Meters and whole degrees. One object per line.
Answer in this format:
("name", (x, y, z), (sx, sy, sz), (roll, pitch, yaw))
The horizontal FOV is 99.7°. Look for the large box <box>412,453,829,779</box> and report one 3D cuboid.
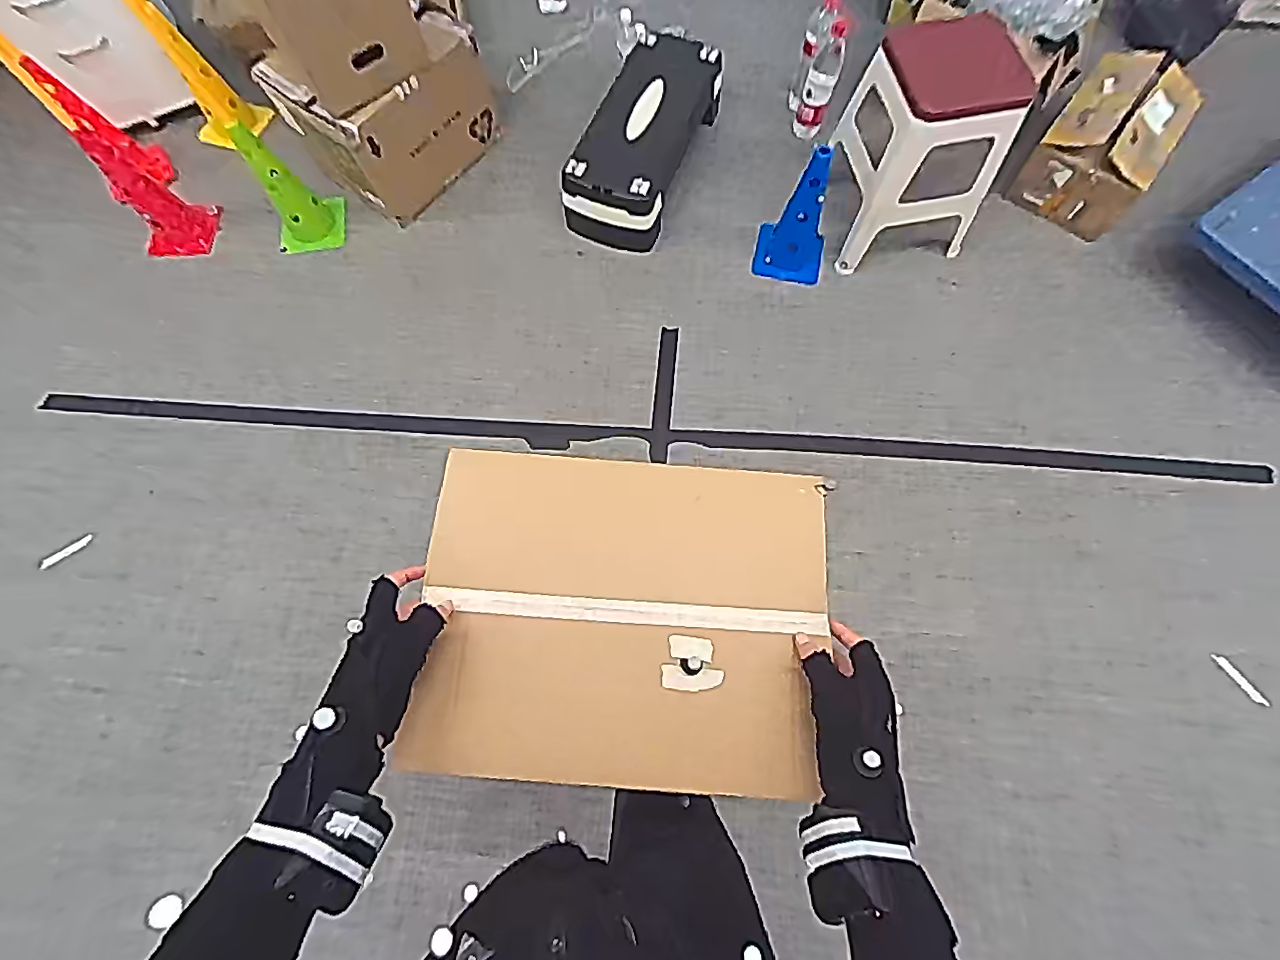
("large box", (-0.017, 0.173, 0.695), (0.408, 0.320, 0.320), (4, 73, -1))
